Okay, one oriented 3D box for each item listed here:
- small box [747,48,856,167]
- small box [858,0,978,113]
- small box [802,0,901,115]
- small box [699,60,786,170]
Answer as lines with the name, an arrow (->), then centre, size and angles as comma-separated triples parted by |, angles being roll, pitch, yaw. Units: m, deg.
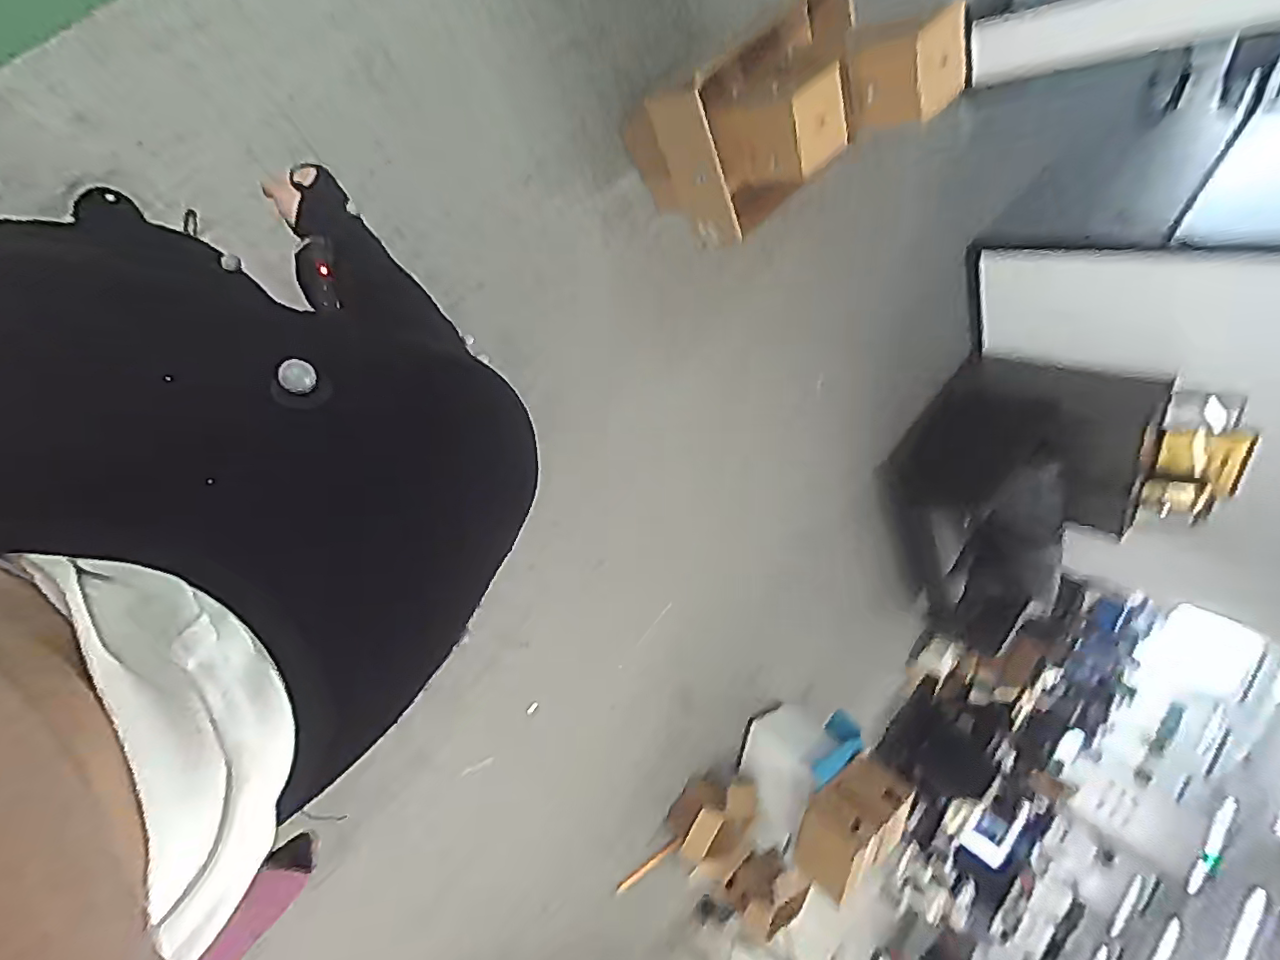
small box -> 0.368, -0.851, 1.252 | 0.179, 0.176, 0.168 | -44, 132, -17
small box -> 0.612, -0.946, 1.191 | 0.179, 0.176, 0.168 | -45, 131, -11
small box -> 0.526, -1.016, 1.314 | 0.179, 0.176, 0.168 | -43, 132, -13
small box -> 0.269, -0.911, 1.367 | 0.179, 0.176, 0.168 | -46, 132, -16
